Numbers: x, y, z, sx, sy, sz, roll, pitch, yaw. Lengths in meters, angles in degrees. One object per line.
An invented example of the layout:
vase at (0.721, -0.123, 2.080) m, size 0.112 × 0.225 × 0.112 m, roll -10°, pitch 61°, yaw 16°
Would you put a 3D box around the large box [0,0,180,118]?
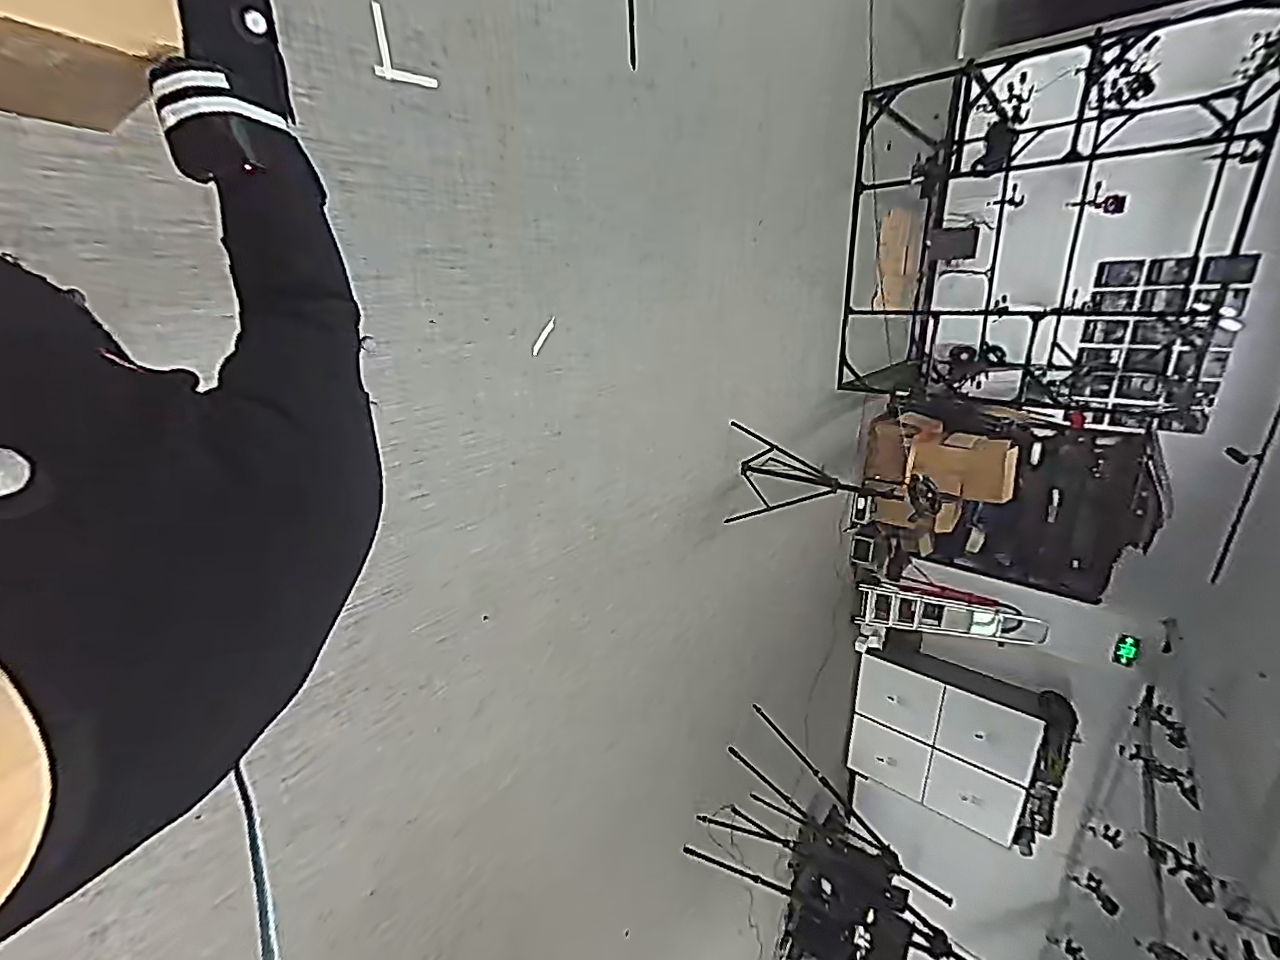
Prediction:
large box at (-0.555, -0.439, 0.276) m, size 0.408 × 0.320 × 0.320 m, roll -17°, pitch 117°, yaw -48°
